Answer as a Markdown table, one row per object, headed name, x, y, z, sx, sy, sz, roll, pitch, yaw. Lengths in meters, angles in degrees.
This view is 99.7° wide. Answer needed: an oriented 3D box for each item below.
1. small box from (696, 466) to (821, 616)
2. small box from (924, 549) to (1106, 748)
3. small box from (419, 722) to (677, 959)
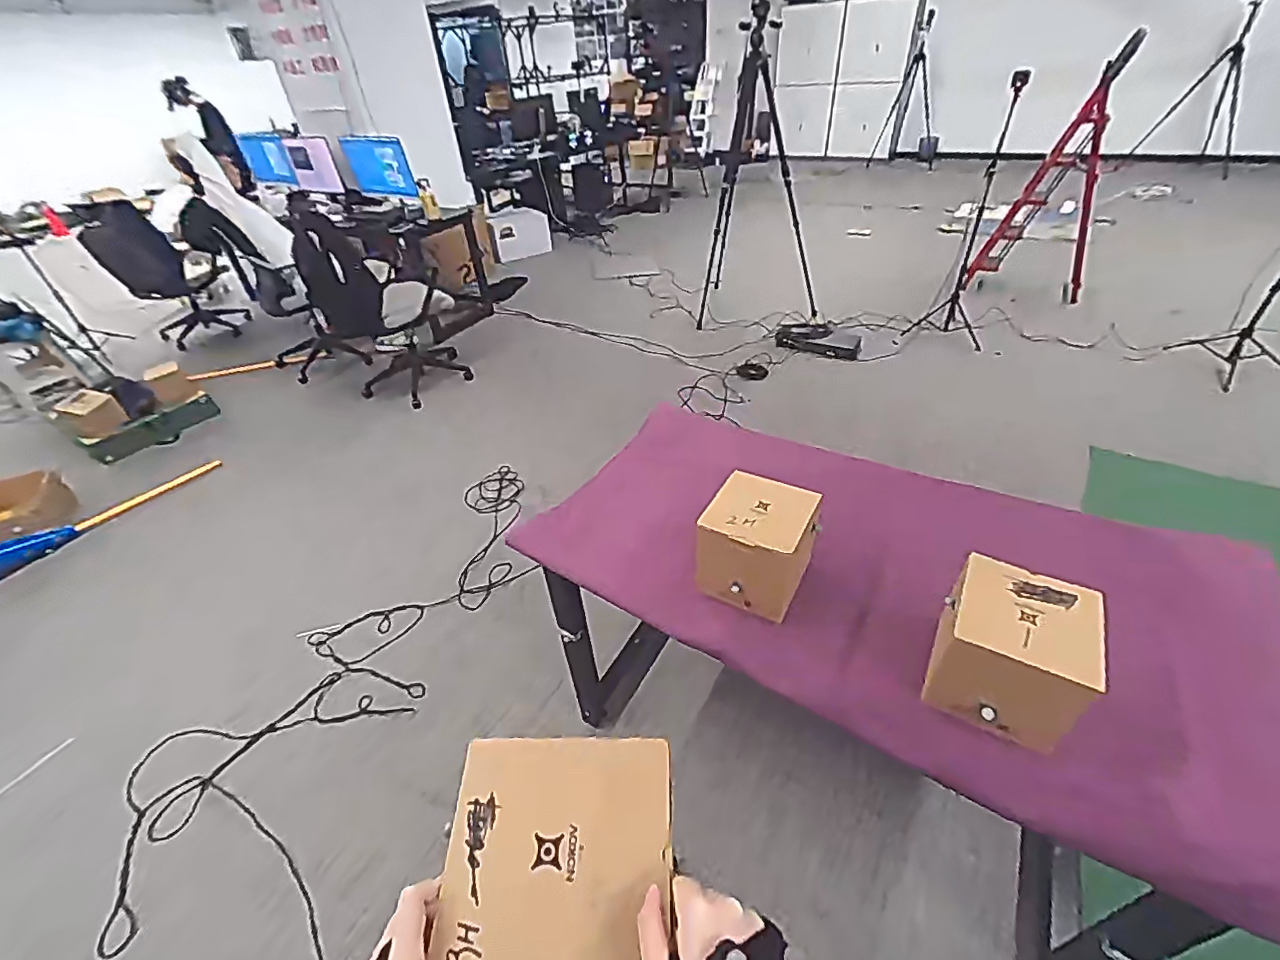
| name | x | y | z | sx | sy | sz | roll | pitch | yaw |
| --- | --- | --- | --- | --- | --- | --- | --- | --- | --- |
| small box | 0.207 | 0.106 | 0.966 | 0.168 | 0.176 | 0.179 | 17 | 42 | 26 |
| small box | 0.526 | 0.236 | 0.771 | 0.168 | 0.176 | 0.179 | 18 | 44 | 27 |
| small box | -0.059 | 0.321 | 0.468 | 0.179 | 0.176 | 0.168 | 0 | 50 | 3 |
